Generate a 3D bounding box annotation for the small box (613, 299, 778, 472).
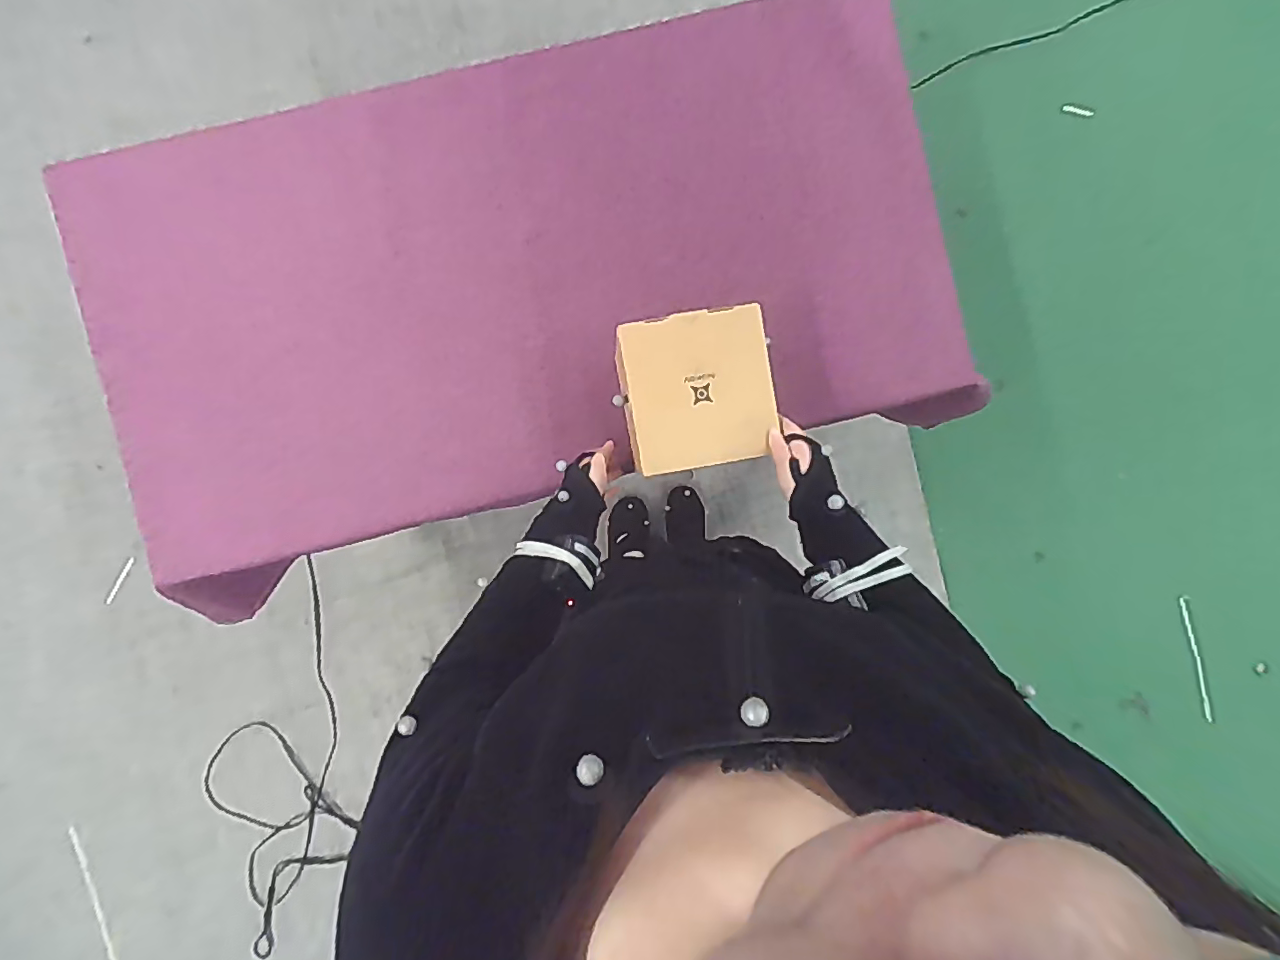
[{"bbox_3d":[0.062,-0.109,0.689,0.168,0.176,0.179,-10,91,-2],"label":"small box"}]
